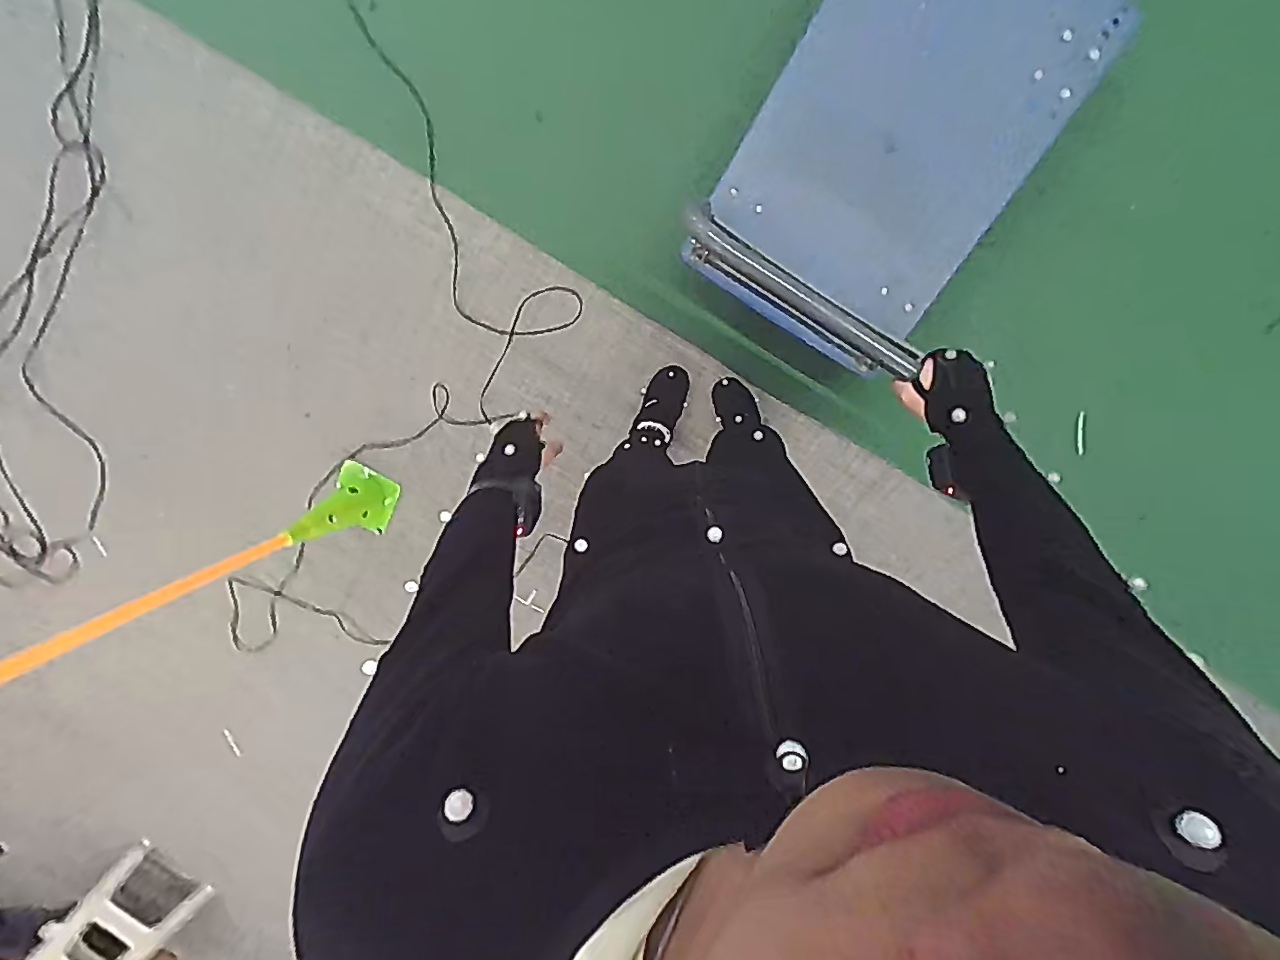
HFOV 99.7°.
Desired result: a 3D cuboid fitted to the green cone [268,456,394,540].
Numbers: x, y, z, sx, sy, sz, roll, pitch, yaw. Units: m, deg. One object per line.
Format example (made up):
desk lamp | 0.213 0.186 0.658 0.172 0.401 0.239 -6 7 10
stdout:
green cone | -0.925 0.089 1.579 0.202 0.368 0.200 28 107 -1
